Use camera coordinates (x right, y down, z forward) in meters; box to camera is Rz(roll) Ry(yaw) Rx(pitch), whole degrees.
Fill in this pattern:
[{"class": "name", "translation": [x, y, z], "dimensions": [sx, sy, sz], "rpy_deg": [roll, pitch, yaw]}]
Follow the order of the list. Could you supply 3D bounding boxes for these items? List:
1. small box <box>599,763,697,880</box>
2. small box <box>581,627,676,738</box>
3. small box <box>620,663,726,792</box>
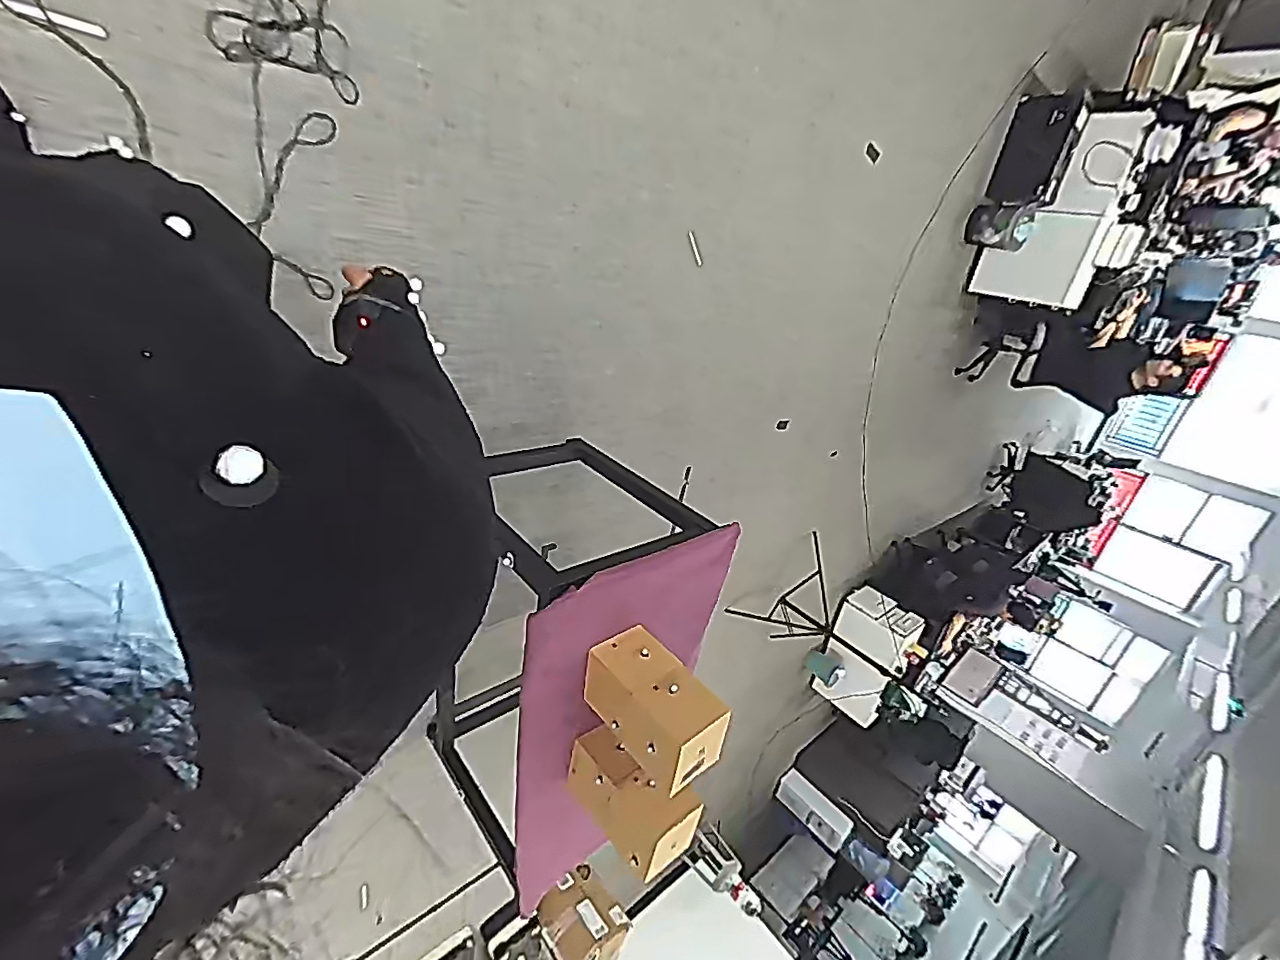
[{"class": "small box", "translation": [0.016, 0.853, 1.384], "dimensions": [0.168, 0.176, 0.179], "rpy_deg": [-10, 121, -43]}, {"class": "small box", "translation": [-0.034, 0.496, 1.365], "dimensions": [0.168, 0.176, 0.179], "rpy_deg": [-16, 126, -39]}, {"class": "small box", "translation": [0.070, 0.567, 1.258], "dimensions": [0.168, 0.176, 0.179], "rpy_deg": [-16, 125, -39]}]
